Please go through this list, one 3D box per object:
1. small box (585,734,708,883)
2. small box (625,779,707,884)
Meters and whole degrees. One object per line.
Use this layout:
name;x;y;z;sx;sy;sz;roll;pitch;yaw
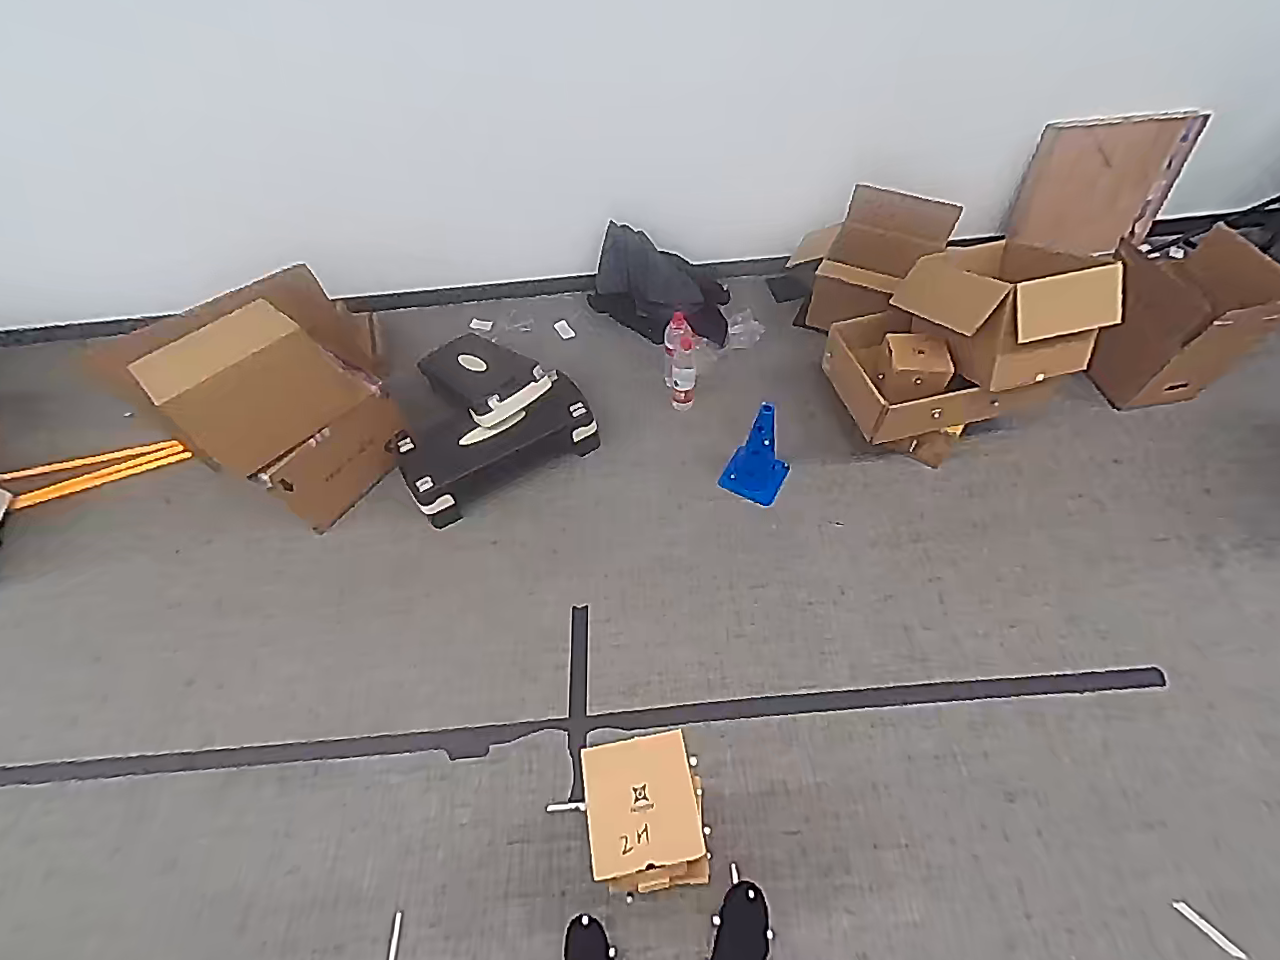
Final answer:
small box;0.008;0.534;0.879;0.168;0.176;0.179;-10;56;-2
small box;0.051;0.736;1.137;0.168;0.176;0.179;-1;56;3
